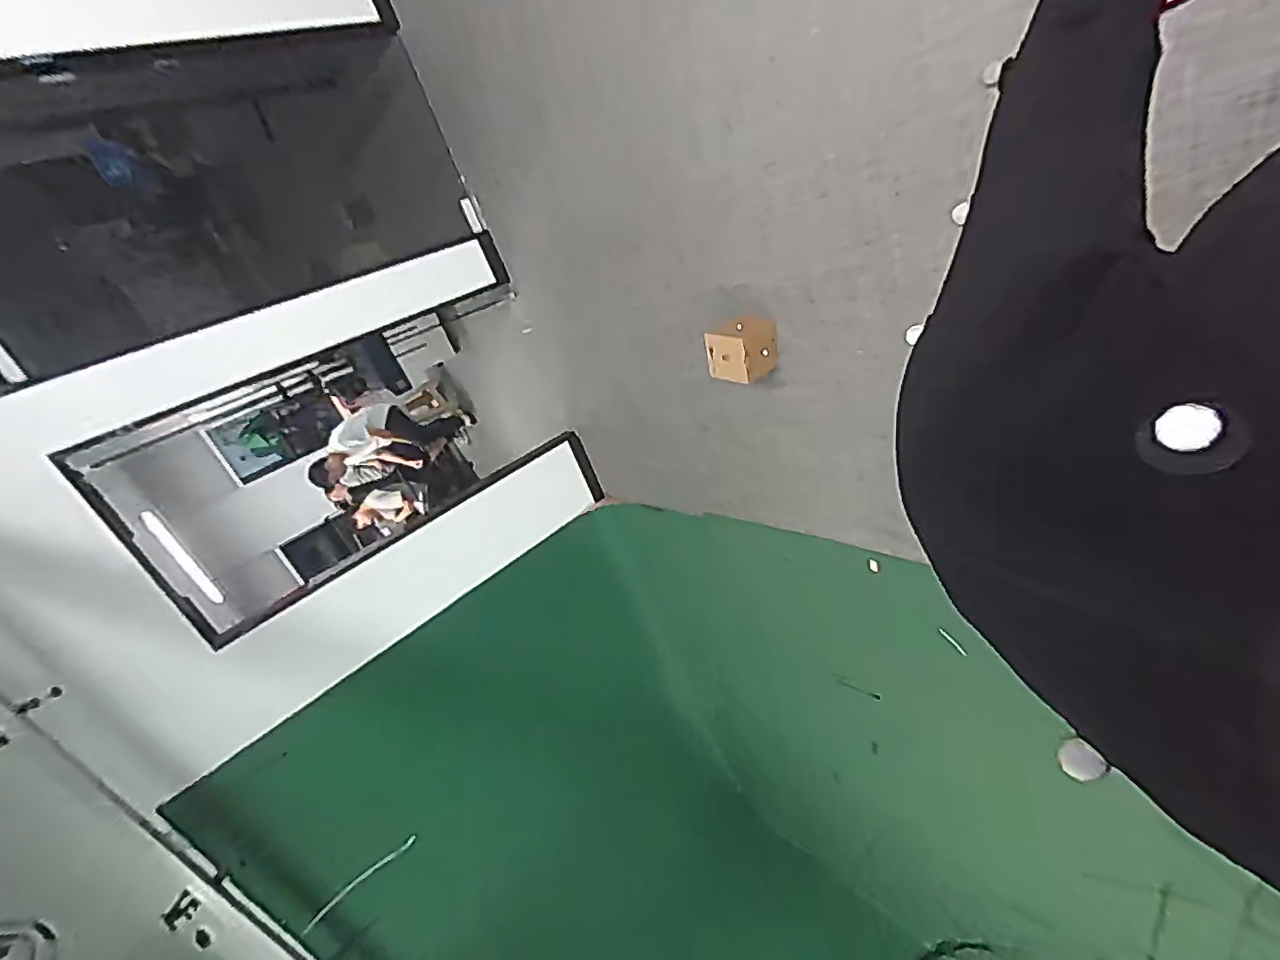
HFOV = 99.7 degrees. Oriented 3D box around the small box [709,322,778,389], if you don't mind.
[{"bbox_3d":[0.369,-0.440,1.885,0.179,0.176,0.168,24,138,43],"label":"small box"}]
